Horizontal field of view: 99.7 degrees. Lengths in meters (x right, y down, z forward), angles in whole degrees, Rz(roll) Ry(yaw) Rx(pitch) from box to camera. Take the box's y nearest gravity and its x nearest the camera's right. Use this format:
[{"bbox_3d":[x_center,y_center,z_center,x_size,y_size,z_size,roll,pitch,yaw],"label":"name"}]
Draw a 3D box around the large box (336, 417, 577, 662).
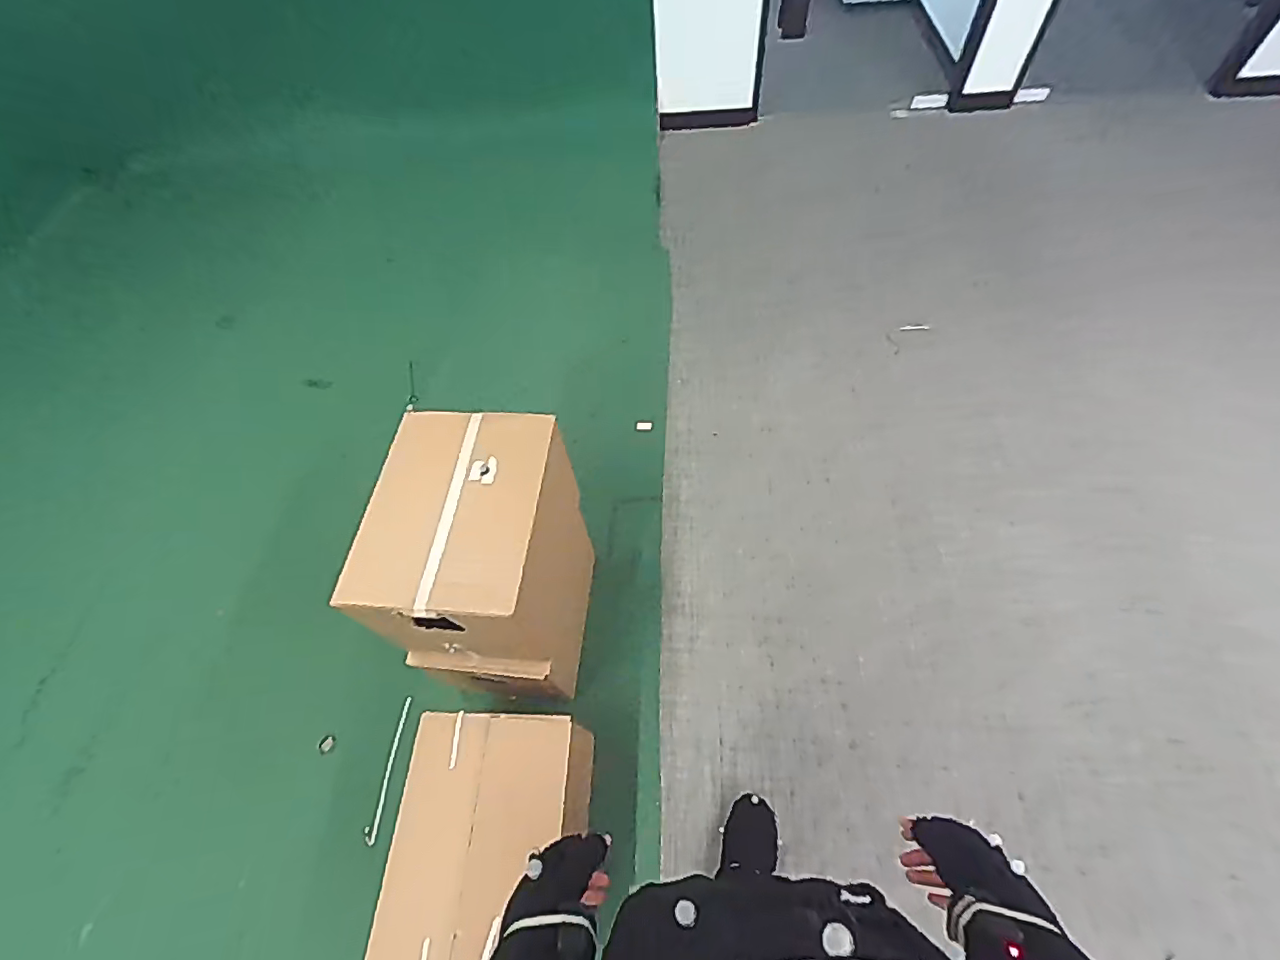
[{"bbox_3d":[-0.327,0.127,1.100,0.320,0.320,0.408,3,57,5],"label":"large box"}]
